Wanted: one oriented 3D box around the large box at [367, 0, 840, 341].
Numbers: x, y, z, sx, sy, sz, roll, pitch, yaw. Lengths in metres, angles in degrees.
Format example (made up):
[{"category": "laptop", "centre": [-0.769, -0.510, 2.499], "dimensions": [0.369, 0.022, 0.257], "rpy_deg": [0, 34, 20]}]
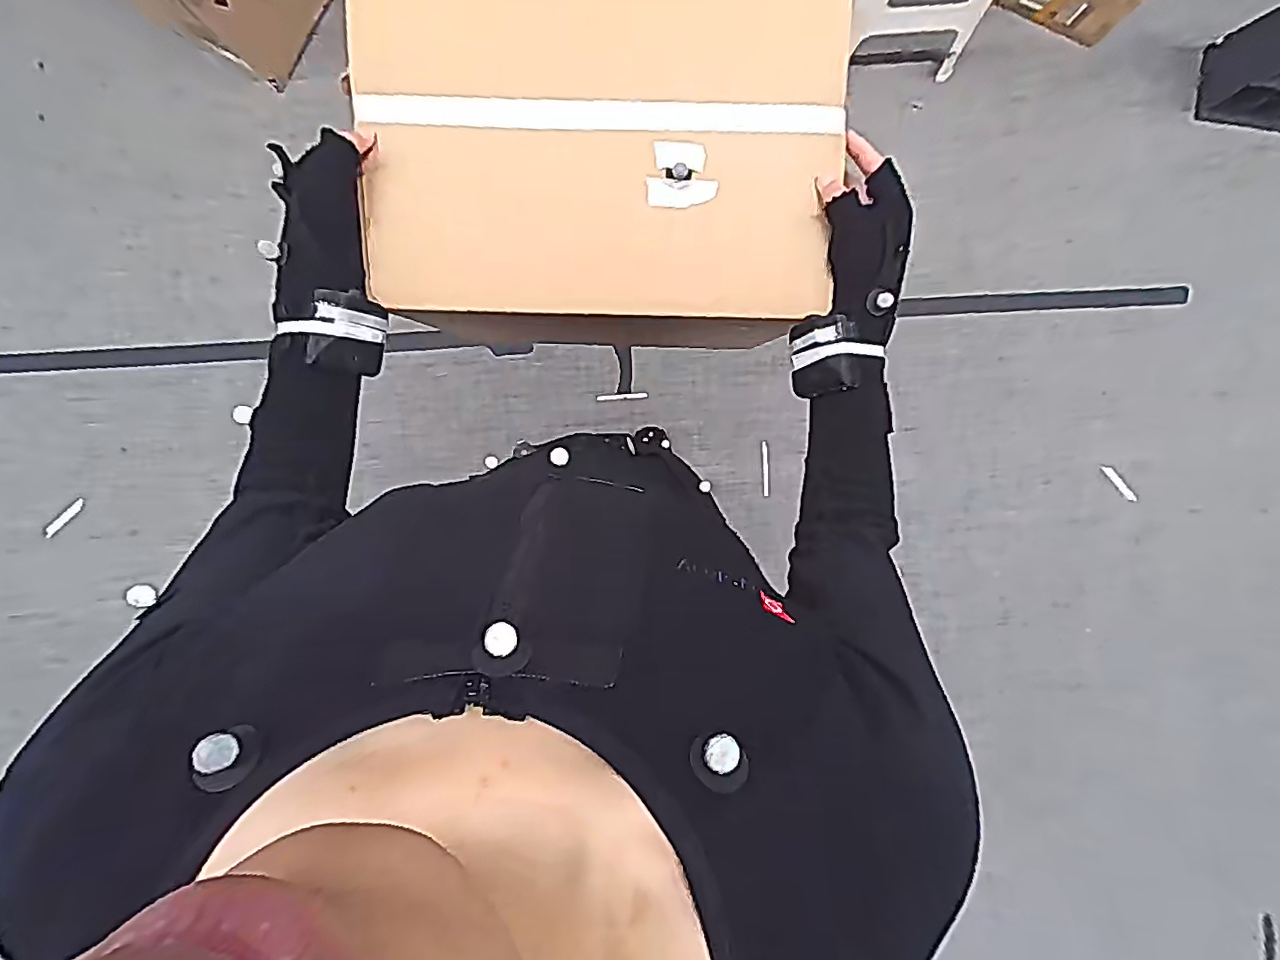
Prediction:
[{"category": "large box", "centre": [-0.034, -0.331, 0.612], "dimensions": [0.408, 0.320, 0.320], "rpy_deg": [1, 100, -1]}]
